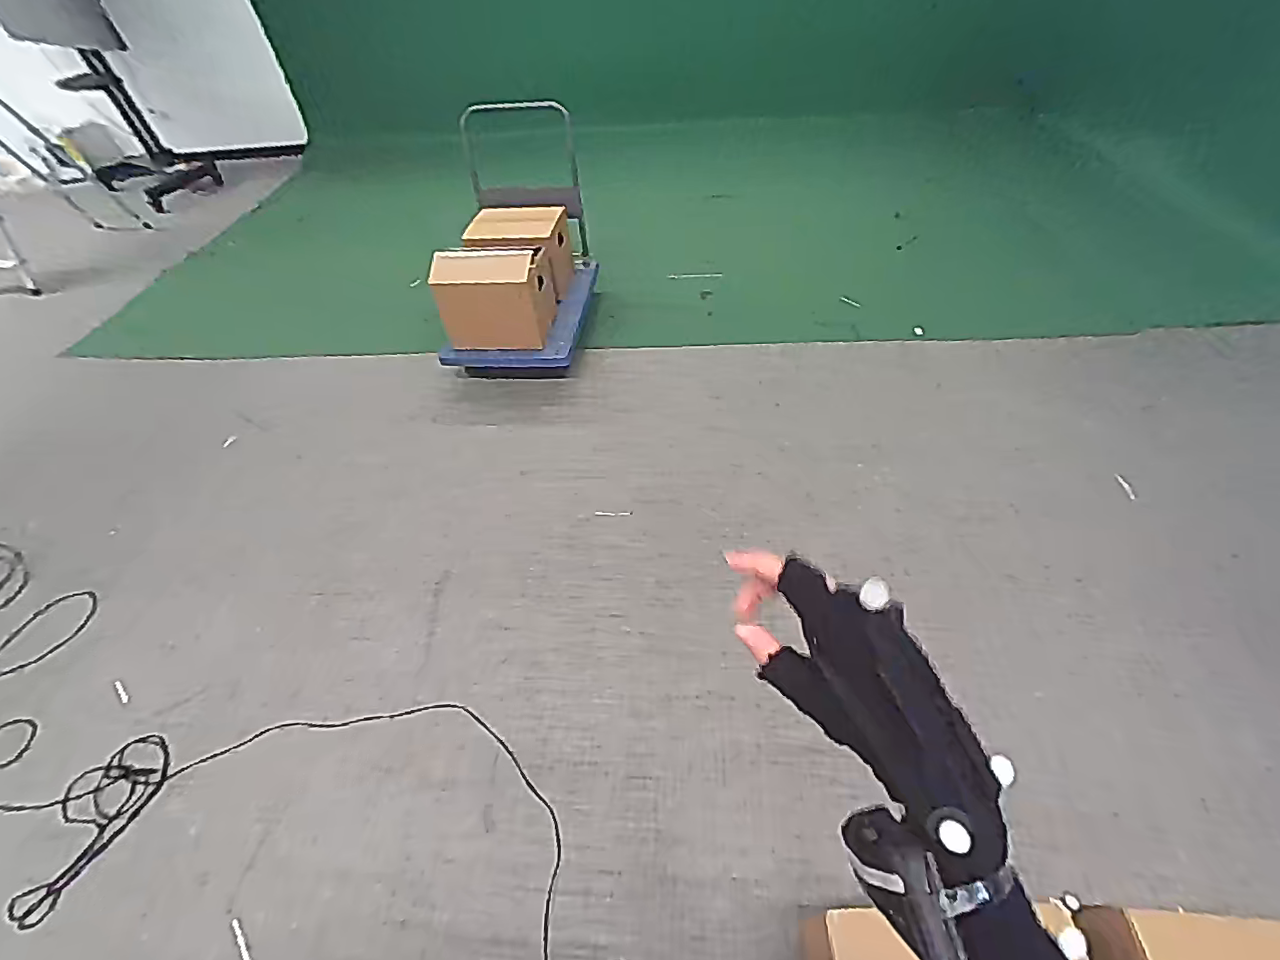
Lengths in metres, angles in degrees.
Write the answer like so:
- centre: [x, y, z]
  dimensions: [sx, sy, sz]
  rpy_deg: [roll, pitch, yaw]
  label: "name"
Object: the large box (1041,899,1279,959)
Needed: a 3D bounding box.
- centre: [1.002, 0.914, 0.894]
  dimensions: [0.408, 0.320, 0.320]
  rpy_deg: [1, 49, 5]
  label: "large box"
